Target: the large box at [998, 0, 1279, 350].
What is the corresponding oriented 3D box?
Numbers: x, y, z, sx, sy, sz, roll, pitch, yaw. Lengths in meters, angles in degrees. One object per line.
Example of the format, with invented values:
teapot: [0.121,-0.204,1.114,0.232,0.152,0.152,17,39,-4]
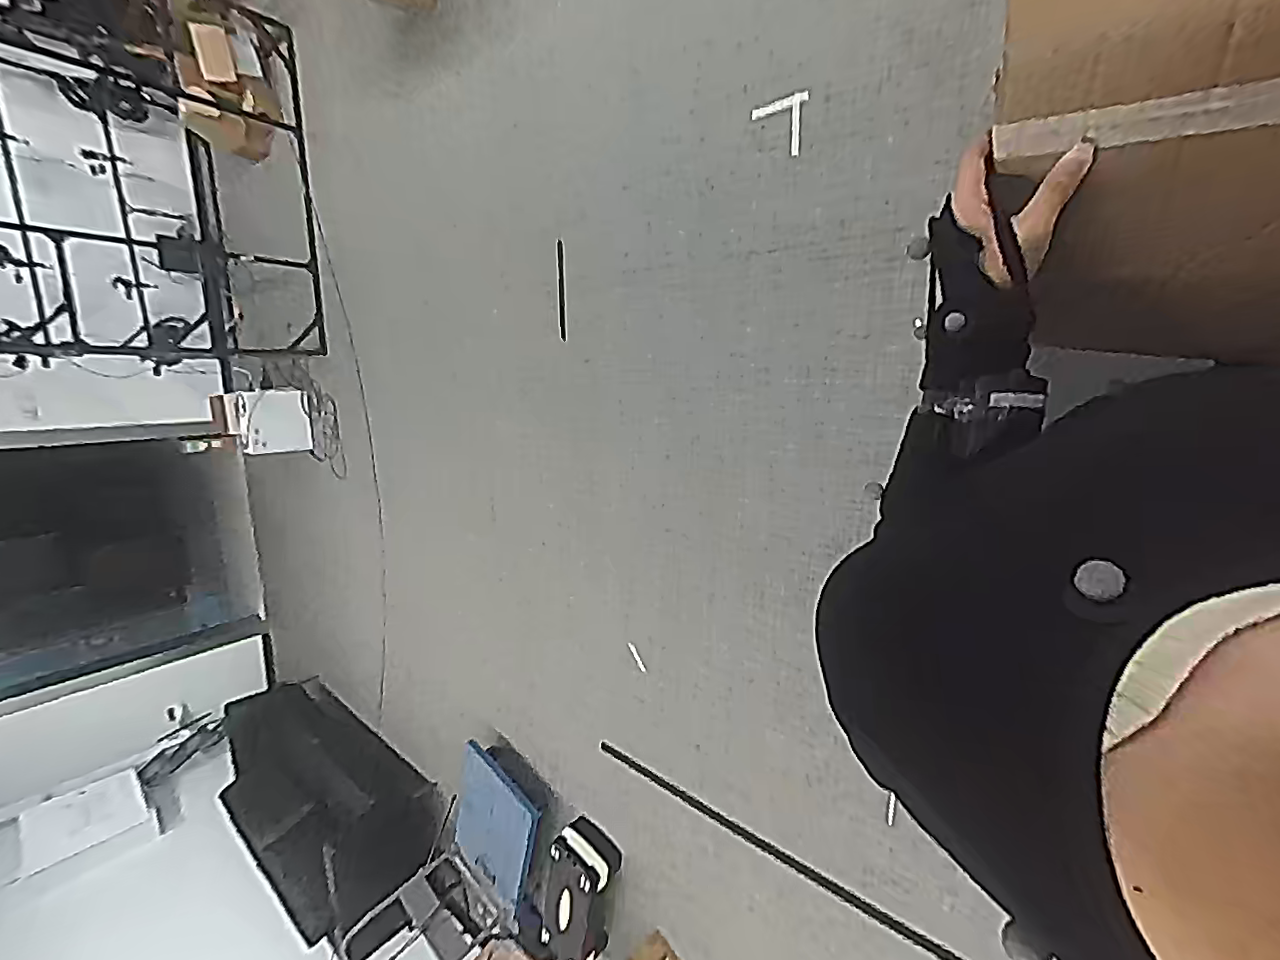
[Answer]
large box: [0.479,-0.283,0.299,0.408,0.320,0.320,18,145,42]
